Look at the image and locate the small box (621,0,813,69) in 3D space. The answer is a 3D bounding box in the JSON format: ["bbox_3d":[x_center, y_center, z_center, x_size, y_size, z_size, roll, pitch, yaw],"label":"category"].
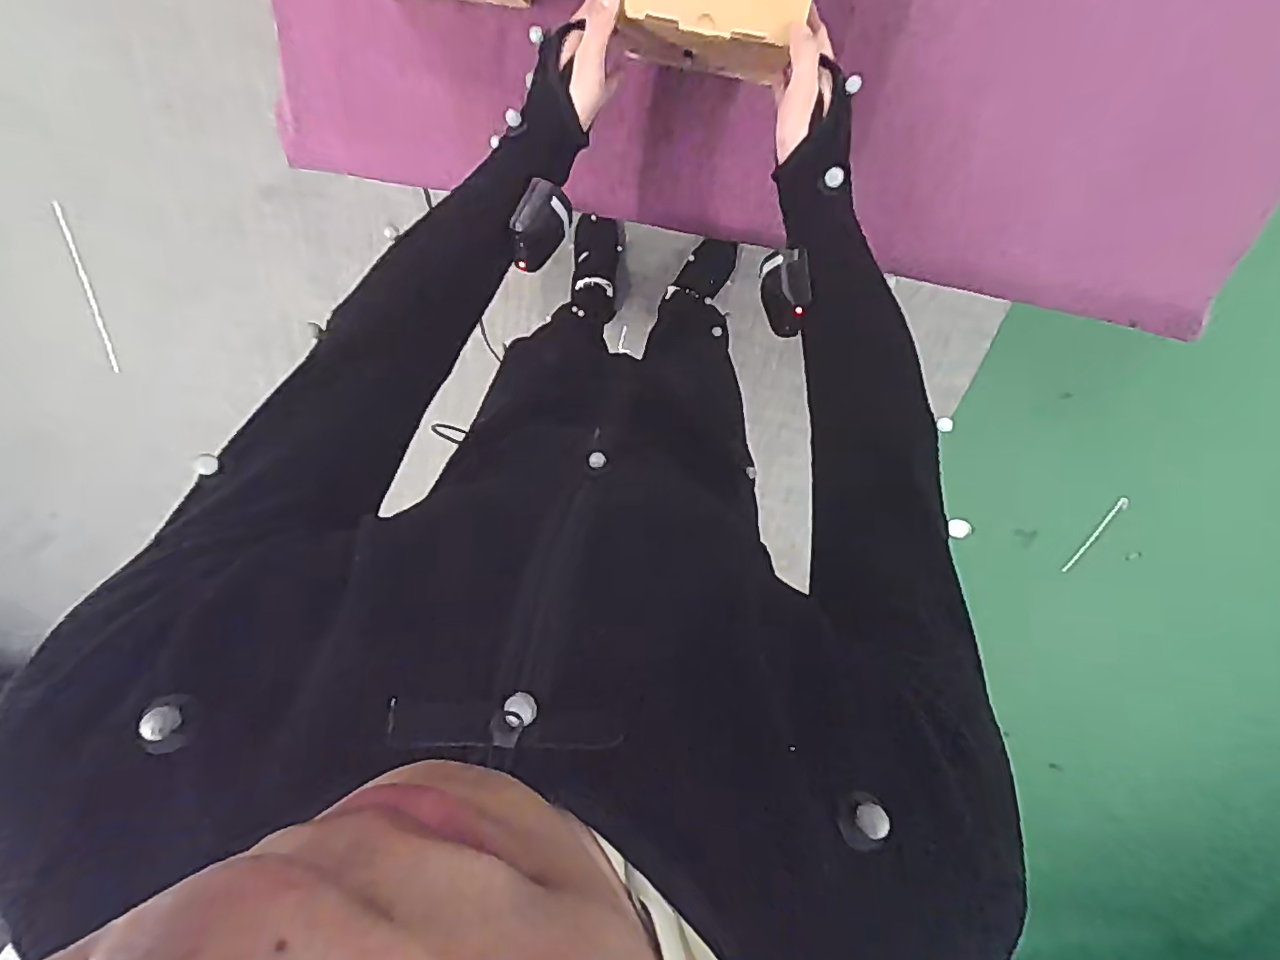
[{"bbox_3d":[0.076,-0.498,0.479,0.168,0.176,0.179,9,120,-1],"label":"small box"}]

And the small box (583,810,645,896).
[{"bbox_3d":[-0.081,1.222,1.773,0.168,0.176,0.179,14,122,-7],"label":"small box"}]
